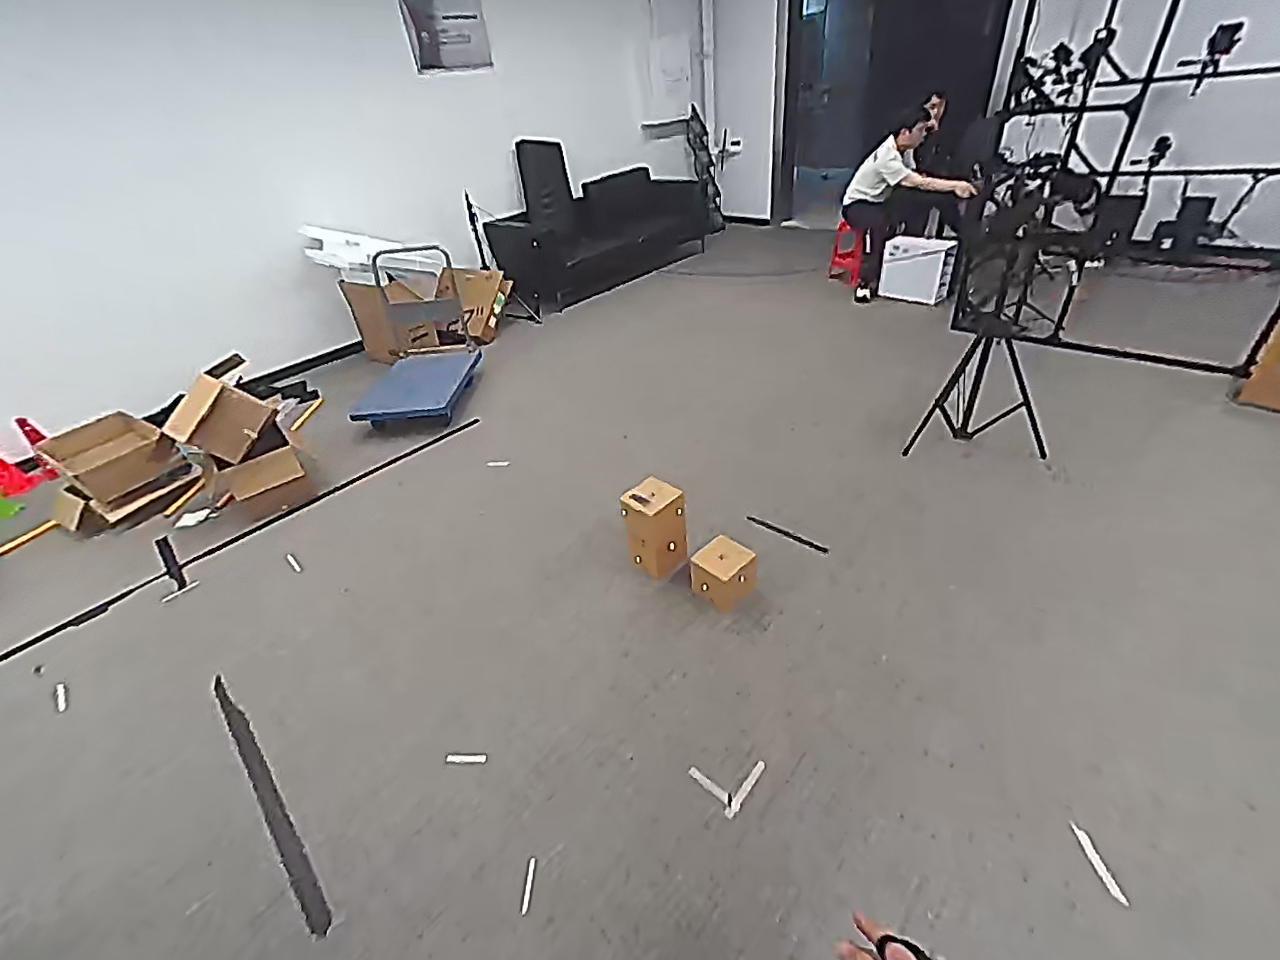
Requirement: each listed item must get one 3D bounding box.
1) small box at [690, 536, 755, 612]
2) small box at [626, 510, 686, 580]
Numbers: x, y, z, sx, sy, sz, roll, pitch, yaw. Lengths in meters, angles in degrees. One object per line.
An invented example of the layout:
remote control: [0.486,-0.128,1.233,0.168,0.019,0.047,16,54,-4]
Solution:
small box: [0.300,0.340,1.950,0.179,0.176,0.168,-32,43,-31]
small box: [0.067,0.255,2.118,0.179,0.176,0.168,-33,42,-31]
